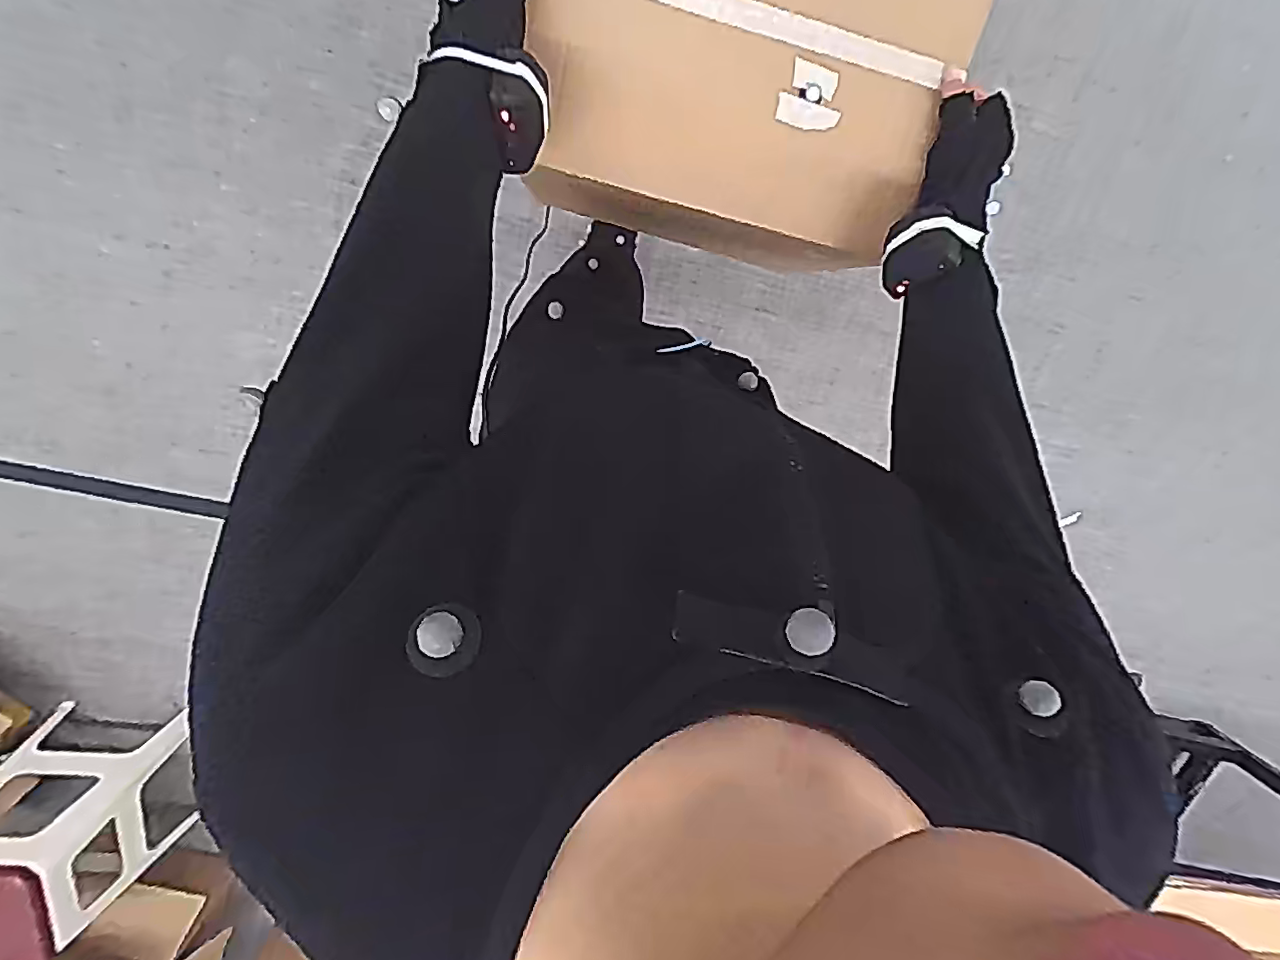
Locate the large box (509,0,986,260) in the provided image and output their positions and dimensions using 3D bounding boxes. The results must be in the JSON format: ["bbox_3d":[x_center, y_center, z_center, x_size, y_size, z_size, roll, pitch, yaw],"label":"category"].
[{"bbox_3d":[0.092,-0.465,0.617,0.408,0.320,0.320,12,109,-8],"label":"large box"}]
